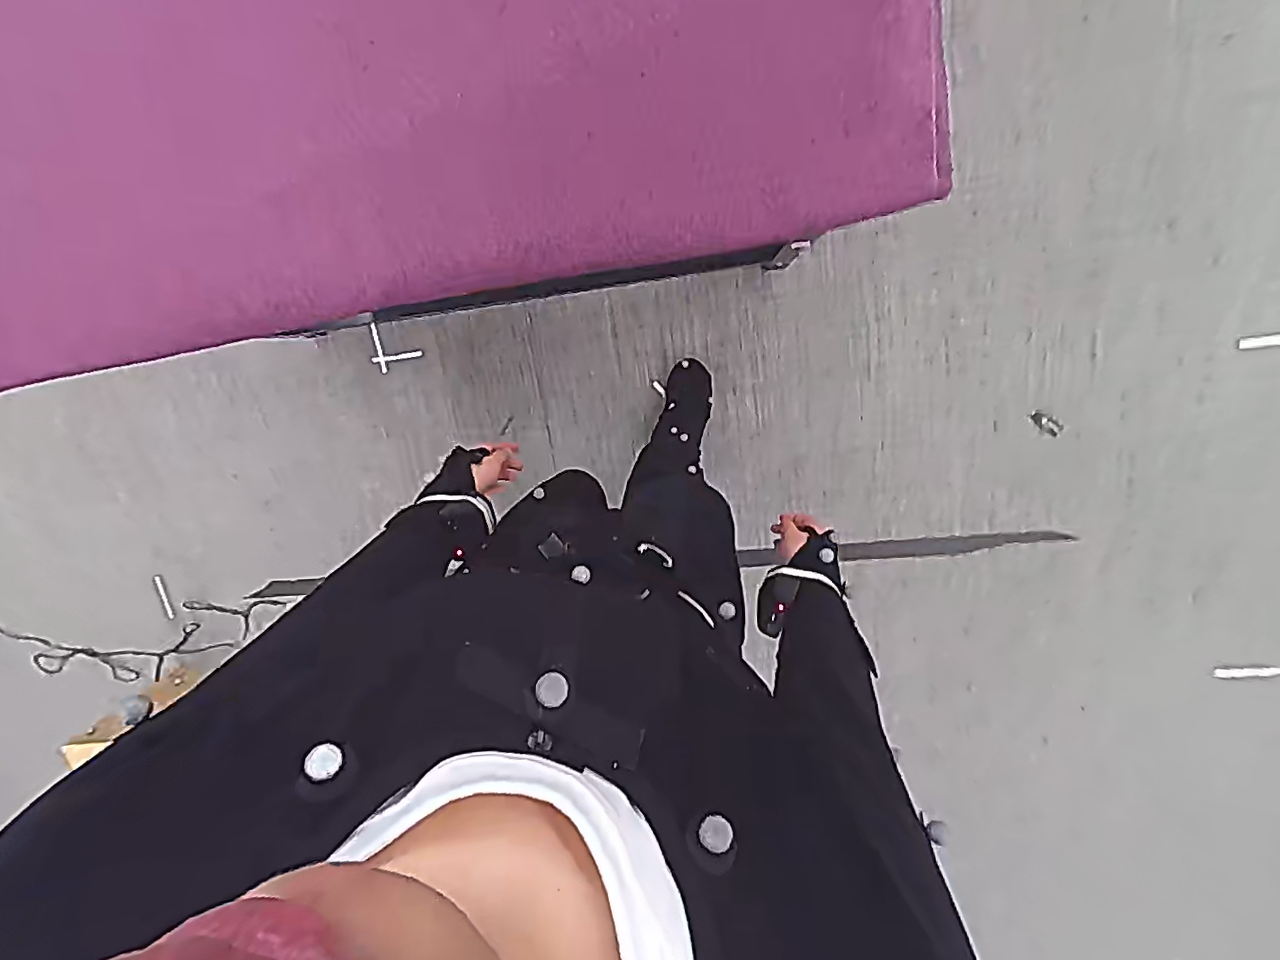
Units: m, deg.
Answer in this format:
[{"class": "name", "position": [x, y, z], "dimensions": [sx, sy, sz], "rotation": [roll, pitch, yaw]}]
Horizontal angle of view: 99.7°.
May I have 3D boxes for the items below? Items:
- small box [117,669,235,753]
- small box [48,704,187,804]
[{"class": "small box", "position": [-1.349, 0.675, 1.584], "dimensions": [0.179, 0.176, 0.168], "rotation": [-6, 104, 6]}, {"class": "small box", "position": [-1.364, 0.716, 1.425], "dimensions": [0.179, 0.176, 0.168], "rotation": [-8, 105, 7]}]
